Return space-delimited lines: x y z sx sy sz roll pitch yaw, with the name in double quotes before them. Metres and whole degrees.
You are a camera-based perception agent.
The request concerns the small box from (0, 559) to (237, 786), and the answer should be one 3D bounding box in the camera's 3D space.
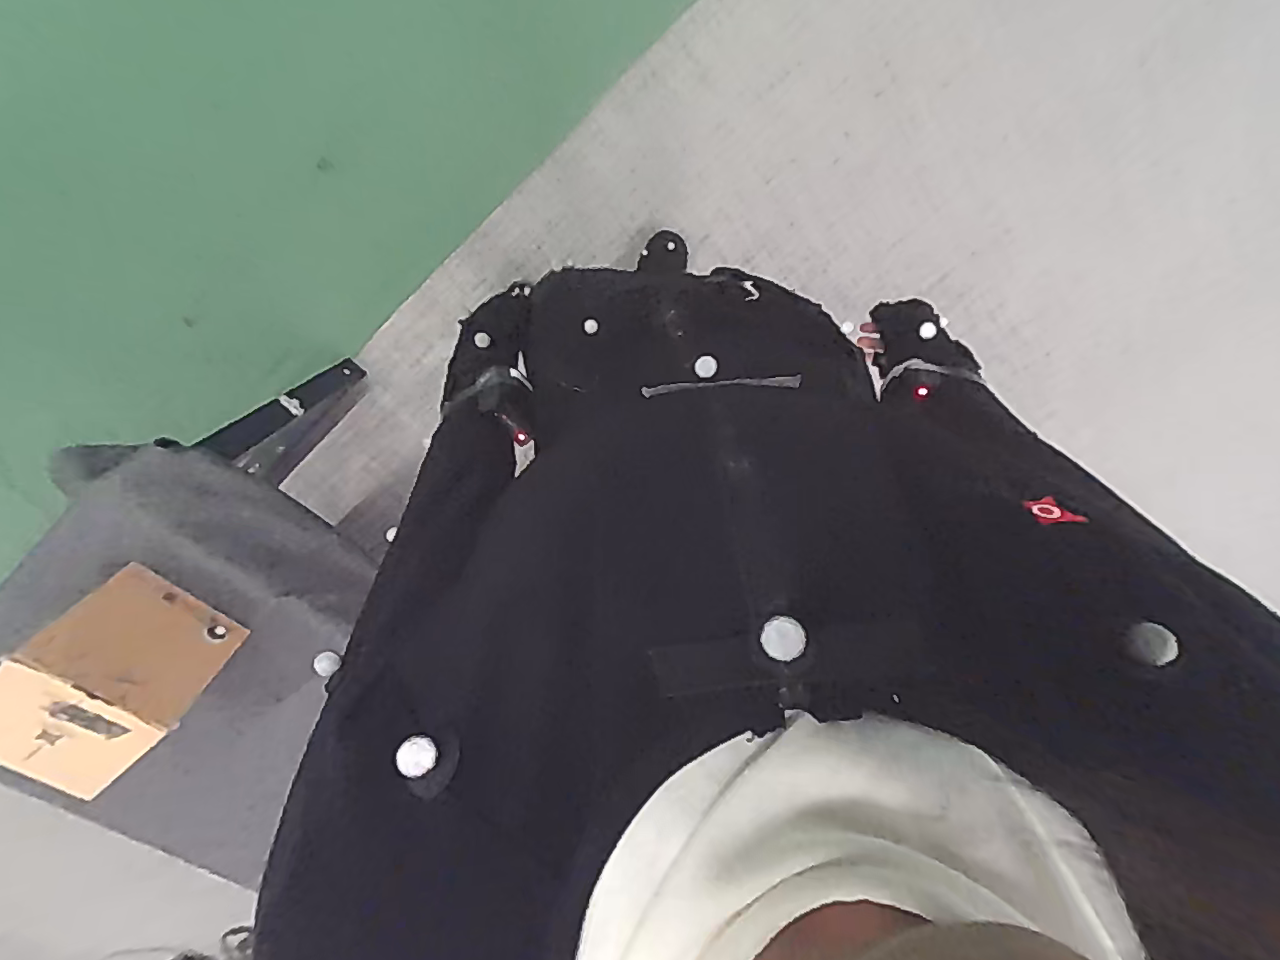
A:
"small box" -0.658 0.231 0.675 0.179 0.176 0.168 -37 113 15
